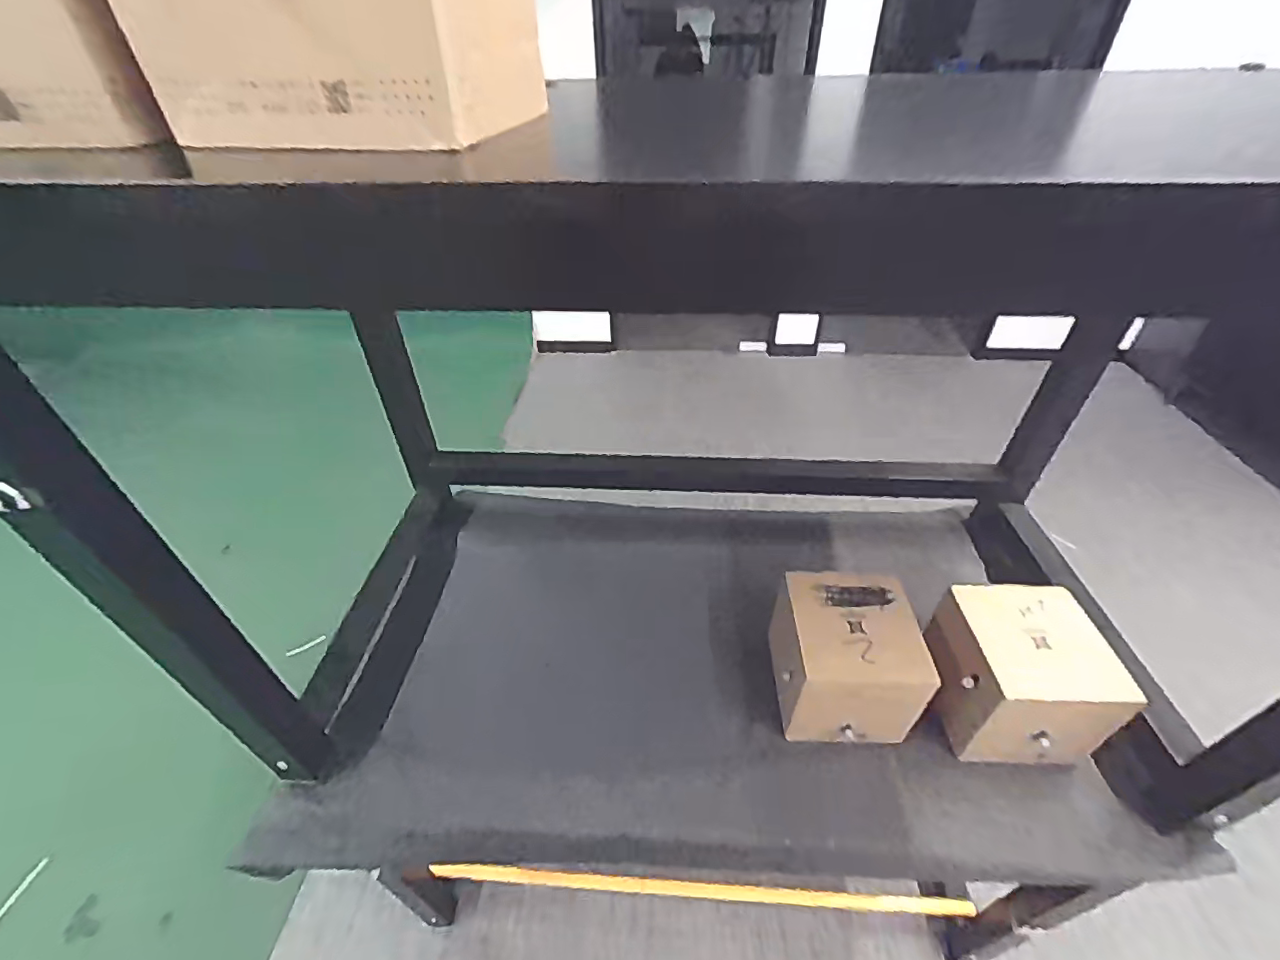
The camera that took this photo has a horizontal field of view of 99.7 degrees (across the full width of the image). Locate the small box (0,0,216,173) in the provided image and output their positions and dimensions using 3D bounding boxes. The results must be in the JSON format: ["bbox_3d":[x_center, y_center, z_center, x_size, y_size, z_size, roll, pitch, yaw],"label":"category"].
[{"bbox_3d":[-0.351,-0.295,0.318,0.168,0.176,0.179,1,41,2],"label":"small box"}]

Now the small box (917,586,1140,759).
[{"bbox_3d":[0.521,0.270,0.759,0.168,0.176,0.179,1,39,2],"label":"small box"}]

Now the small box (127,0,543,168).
[{"bbox_3d":[-0.161,-0.286,0.308,0.168,0.176,0.179,4,40,6],"label":"small box"}]
